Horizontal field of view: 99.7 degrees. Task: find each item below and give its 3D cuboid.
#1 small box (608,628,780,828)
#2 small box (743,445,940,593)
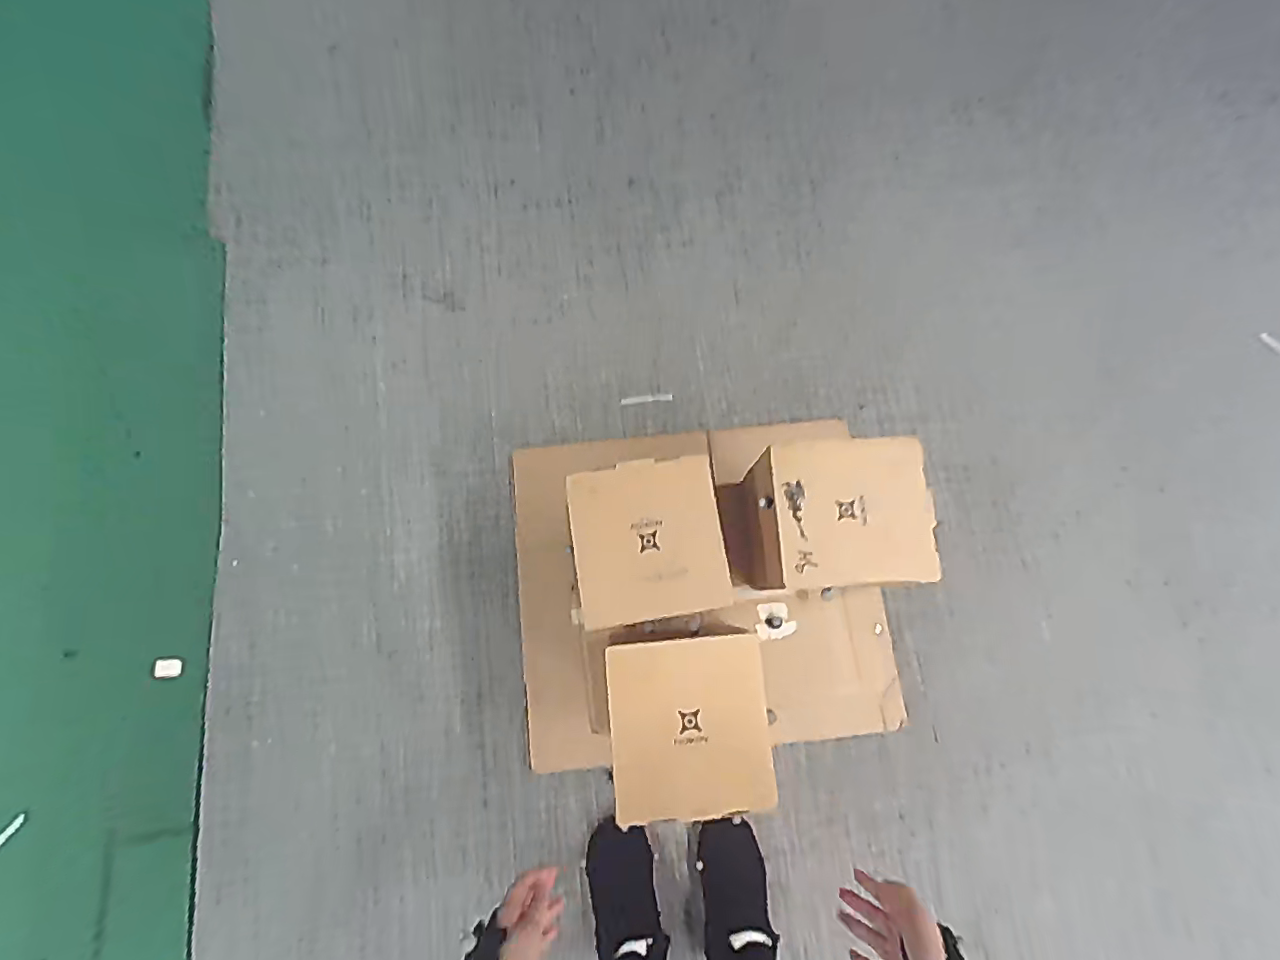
[{"bbox_3d":[0.049,0.270,0.633,0.168,0.176,0.179,-5,79,-3],"label":"small box"},{"bbox_3d":[0.238,0.056,0.683,0.179,0.176,0.168,-2,77,-1],"label":"small box"}]
